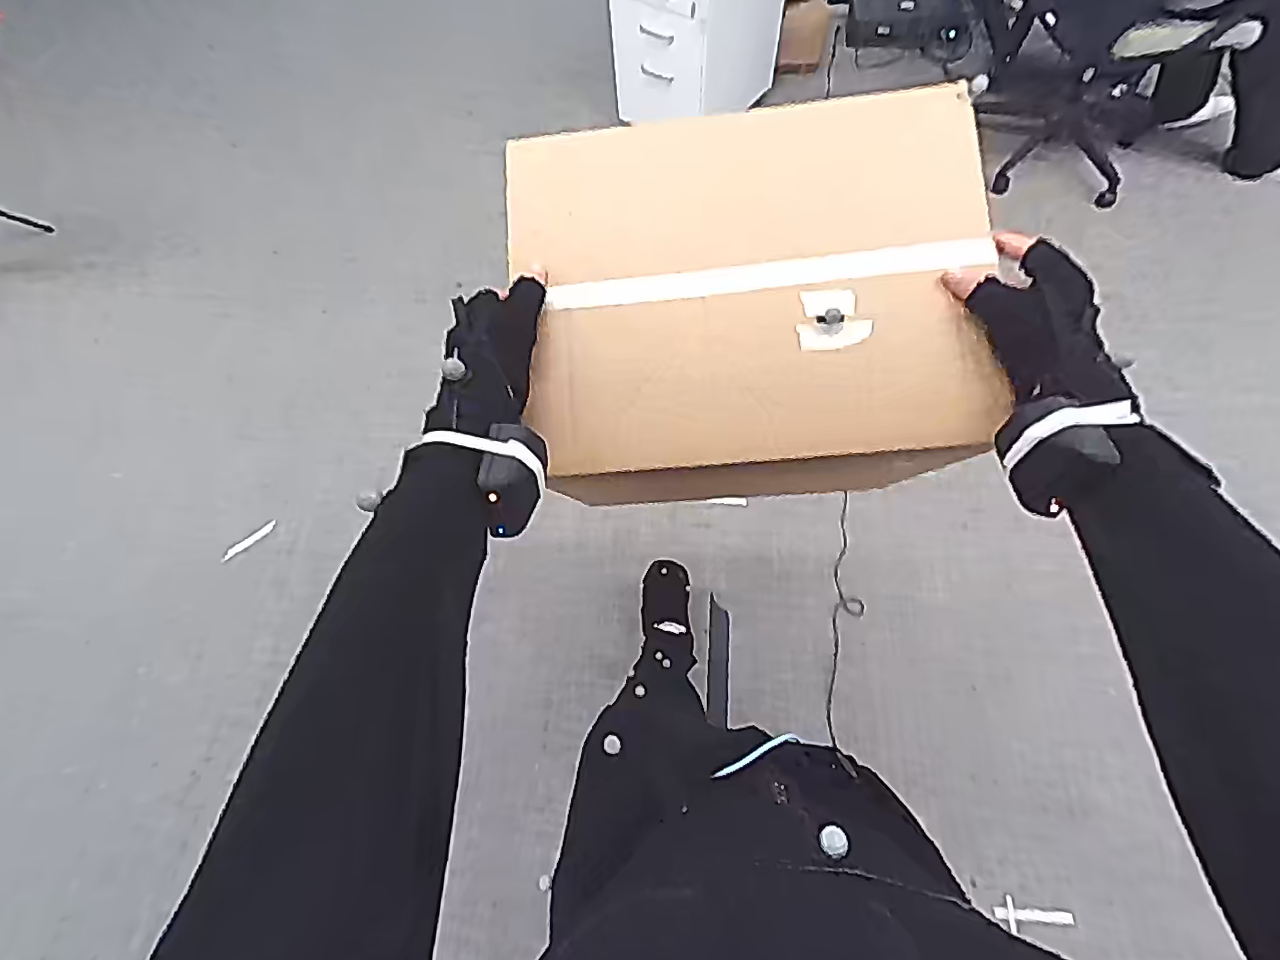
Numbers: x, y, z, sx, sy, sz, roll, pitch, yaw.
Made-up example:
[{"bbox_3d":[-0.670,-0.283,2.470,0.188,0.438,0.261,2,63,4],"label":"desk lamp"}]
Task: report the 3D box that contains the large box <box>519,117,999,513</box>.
[{"bbox_3d":[0.102,-0.142,0.631,0.408,0.320,0.320,-5,82,4],"label":"large box"}]
